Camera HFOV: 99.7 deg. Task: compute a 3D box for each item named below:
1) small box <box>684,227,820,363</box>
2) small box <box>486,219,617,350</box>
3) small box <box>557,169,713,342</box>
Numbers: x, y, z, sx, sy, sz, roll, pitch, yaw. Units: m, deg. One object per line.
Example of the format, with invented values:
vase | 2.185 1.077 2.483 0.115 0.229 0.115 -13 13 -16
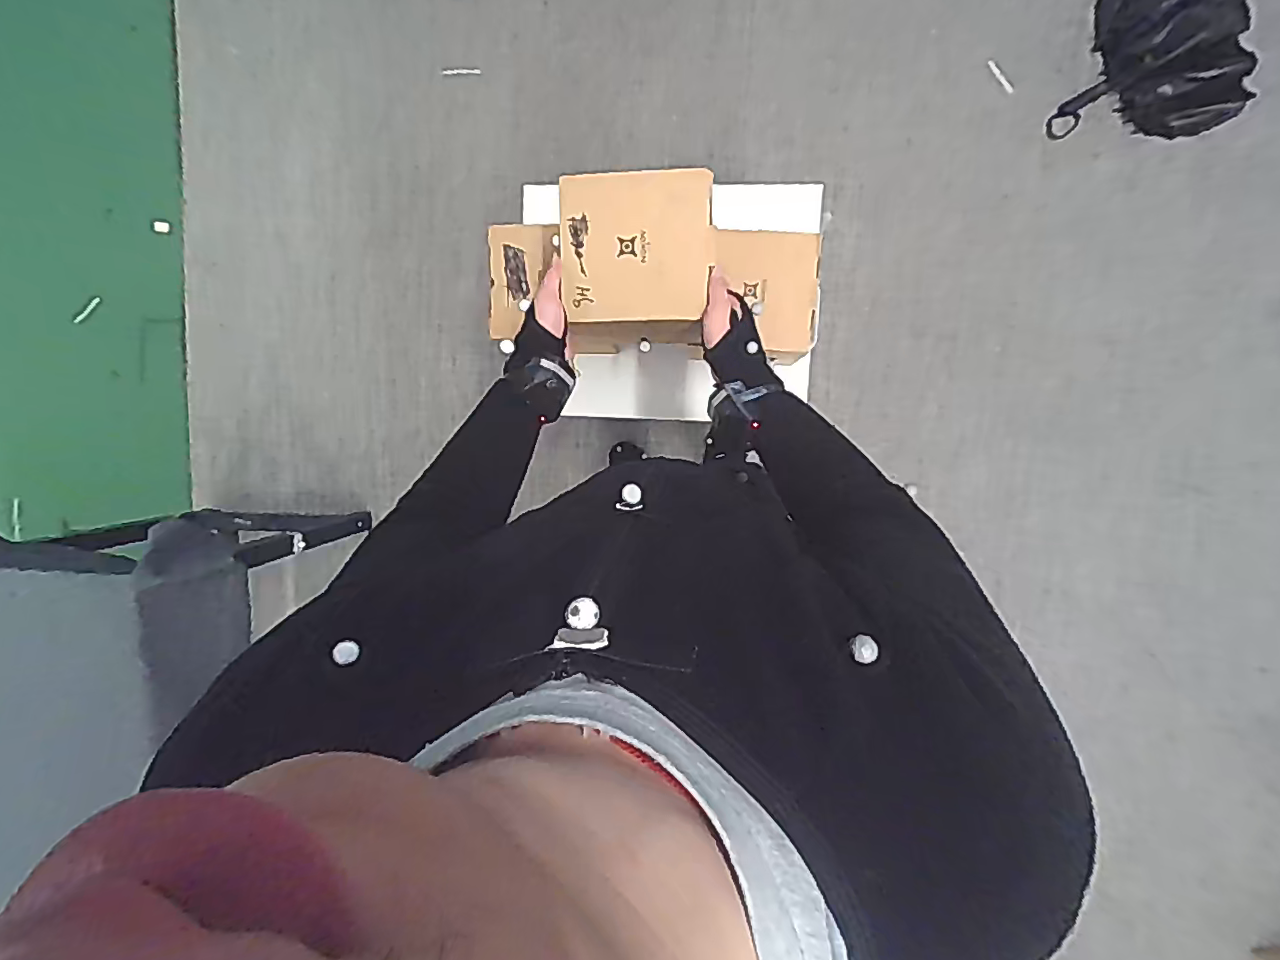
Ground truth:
small box | 0.165 -0.275 0.834 0.179 0.176 0.168 5 96 8
small box | -0.131 -0.300 0.862 0.179 0.176 0.168 2 97 4
small box | -0.002 -0.272 0.687 0.179 0.176 0.168 1 96 5
